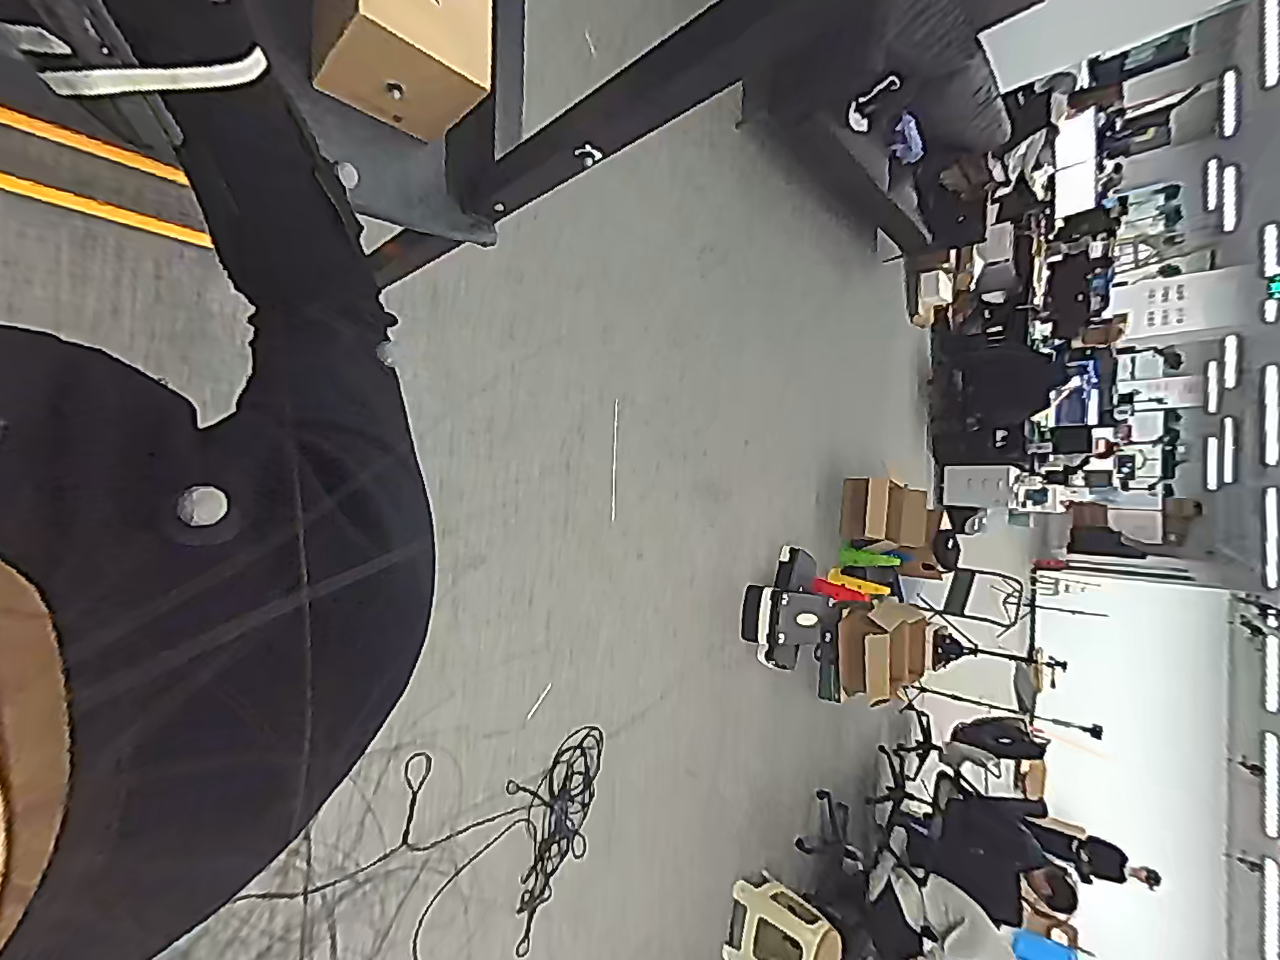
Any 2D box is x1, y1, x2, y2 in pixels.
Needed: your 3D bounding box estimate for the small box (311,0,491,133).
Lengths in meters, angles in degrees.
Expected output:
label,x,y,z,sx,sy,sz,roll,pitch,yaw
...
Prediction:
label,x,y,z,sx,sy,sz,roll,pitch,yaw
small box,-0.313,-0.602,0.708,0.168,0.176,0.179,1,89,-48
